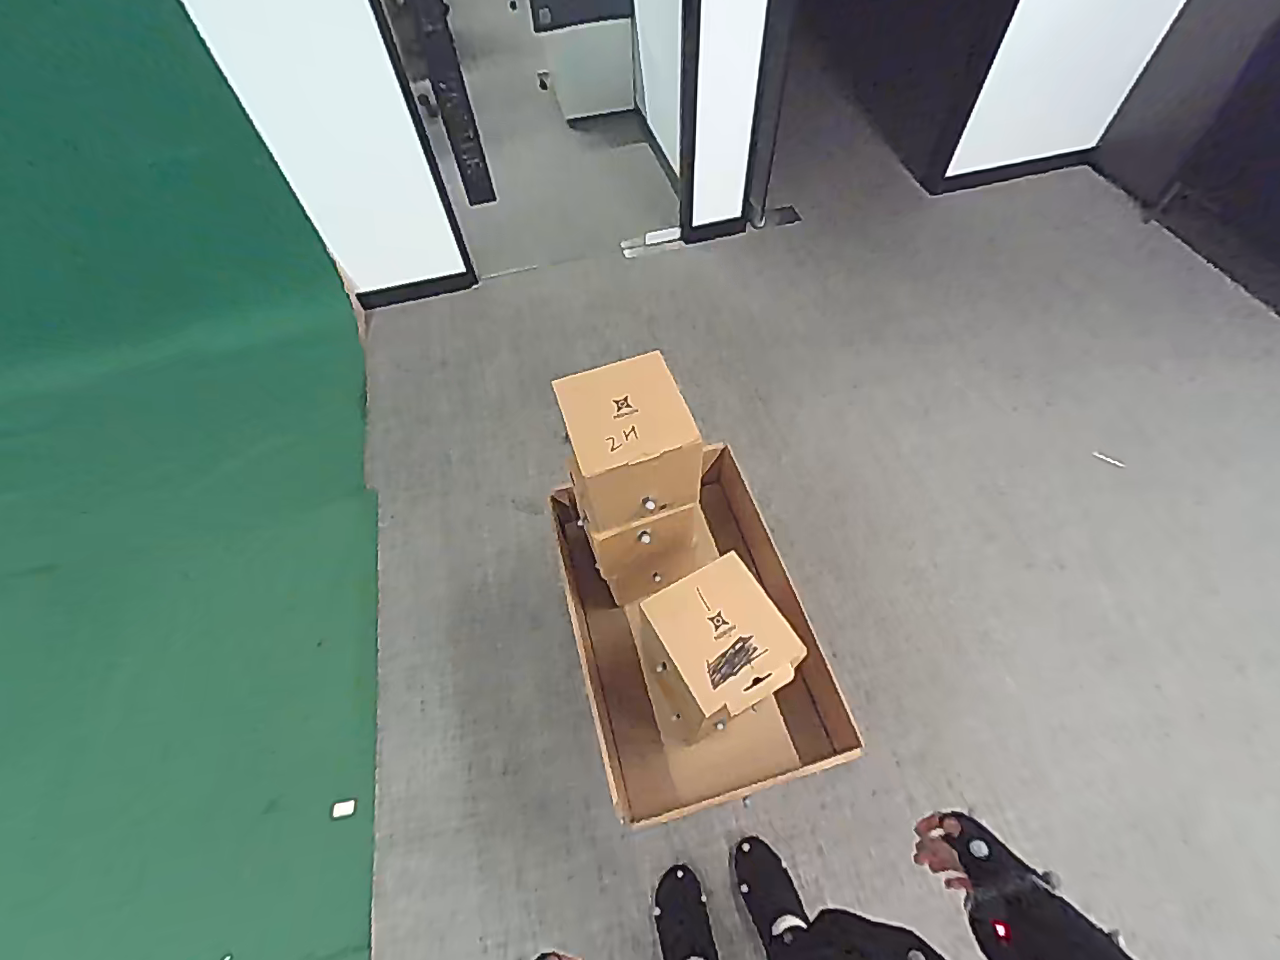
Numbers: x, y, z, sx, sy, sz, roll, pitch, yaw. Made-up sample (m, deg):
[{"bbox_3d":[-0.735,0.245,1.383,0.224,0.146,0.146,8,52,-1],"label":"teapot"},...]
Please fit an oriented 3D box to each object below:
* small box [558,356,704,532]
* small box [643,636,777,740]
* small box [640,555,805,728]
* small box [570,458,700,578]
[{"bbox_3d":[-0.014,-0.050,0.812,0.168,0.176,0.179,-18,59,-6],"label":"small box"},{"bbox_3d":[0.120,0.336,0.952,0.168,0.176,0.179,-26,59,-13],"label":"small box"},{"bbox_3d":[0.115,0.250,0.812,0.168,0.176,0.179,-26,59,-14],"label":"small box"},{"bbox_3d":[-0.008,0.047,0.945,0.179,0.176,0.168,-19,59,-7],"label":"small box"}]
